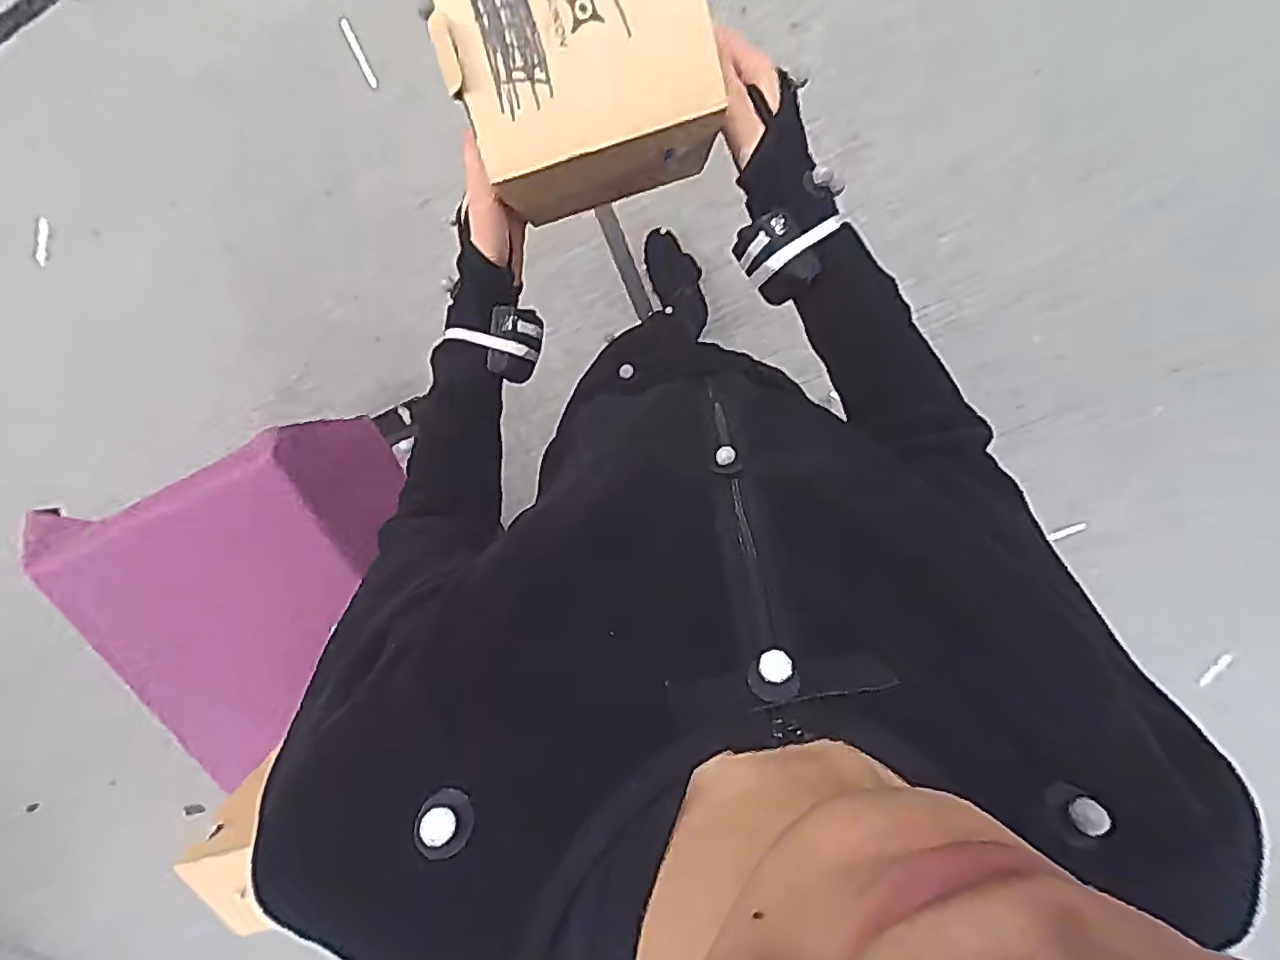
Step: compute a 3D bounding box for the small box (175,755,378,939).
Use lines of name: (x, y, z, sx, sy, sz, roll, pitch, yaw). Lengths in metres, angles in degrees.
small box: (-0.572, 0.587, 0.877, 0.179, 0.176, 0.168, -20, 108, 10)
